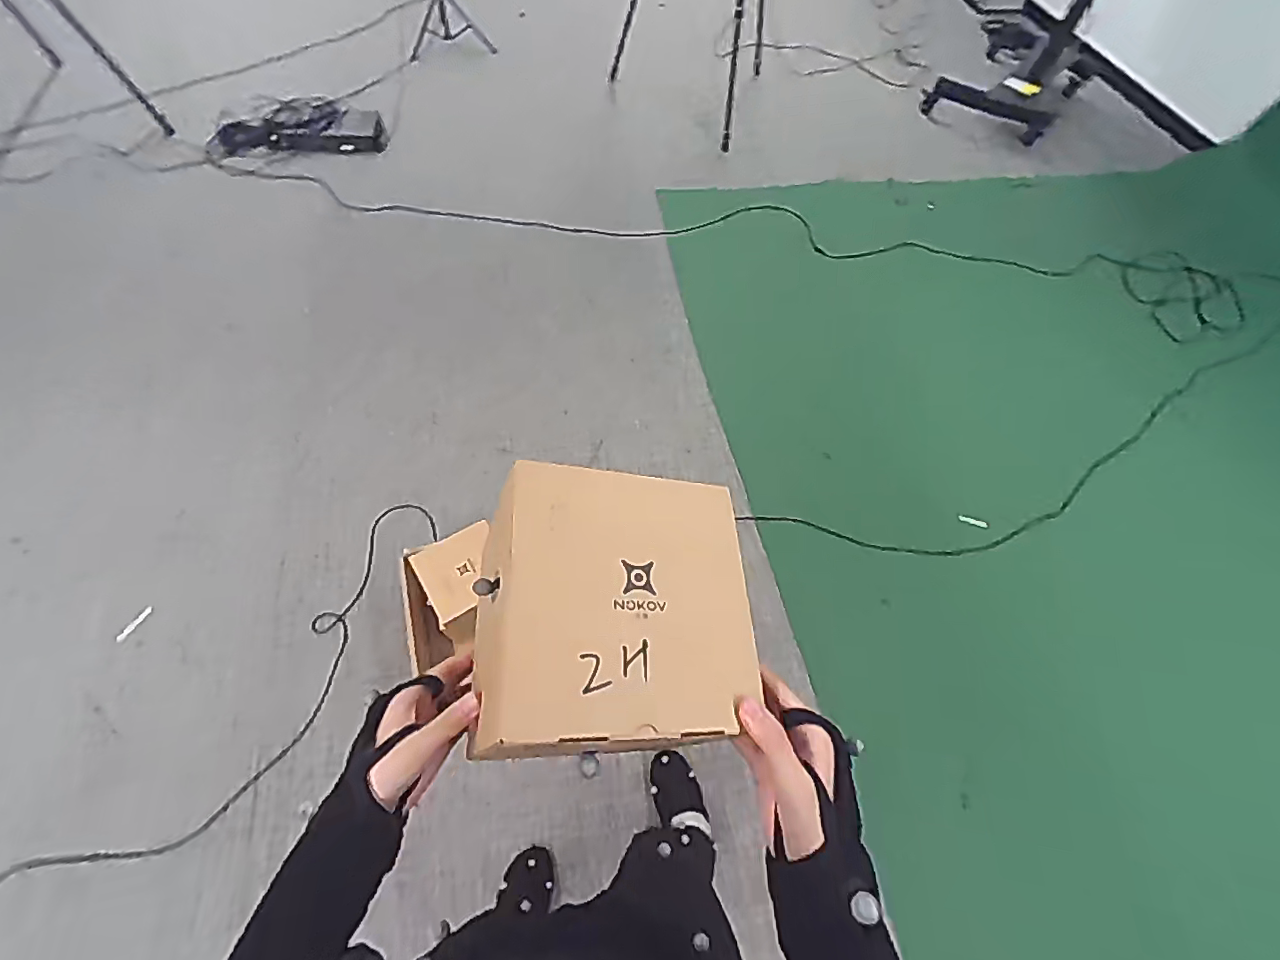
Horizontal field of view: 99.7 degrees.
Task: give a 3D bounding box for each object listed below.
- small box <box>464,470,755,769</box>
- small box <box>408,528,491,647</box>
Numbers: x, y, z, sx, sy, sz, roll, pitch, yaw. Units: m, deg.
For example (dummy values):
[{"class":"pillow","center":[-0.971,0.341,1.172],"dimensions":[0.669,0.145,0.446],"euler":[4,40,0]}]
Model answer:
[{"class":"small box","center":[-0.037,0.117,0.418],"dimensions":[0.168,0.176,0.179],"euler":[8,59,-20]},{"class":"small box","center":[-0.373,0.237,1.180],"dimensions":[0.179,0.176,0.168],"euler":[-28,68,-20]}]
